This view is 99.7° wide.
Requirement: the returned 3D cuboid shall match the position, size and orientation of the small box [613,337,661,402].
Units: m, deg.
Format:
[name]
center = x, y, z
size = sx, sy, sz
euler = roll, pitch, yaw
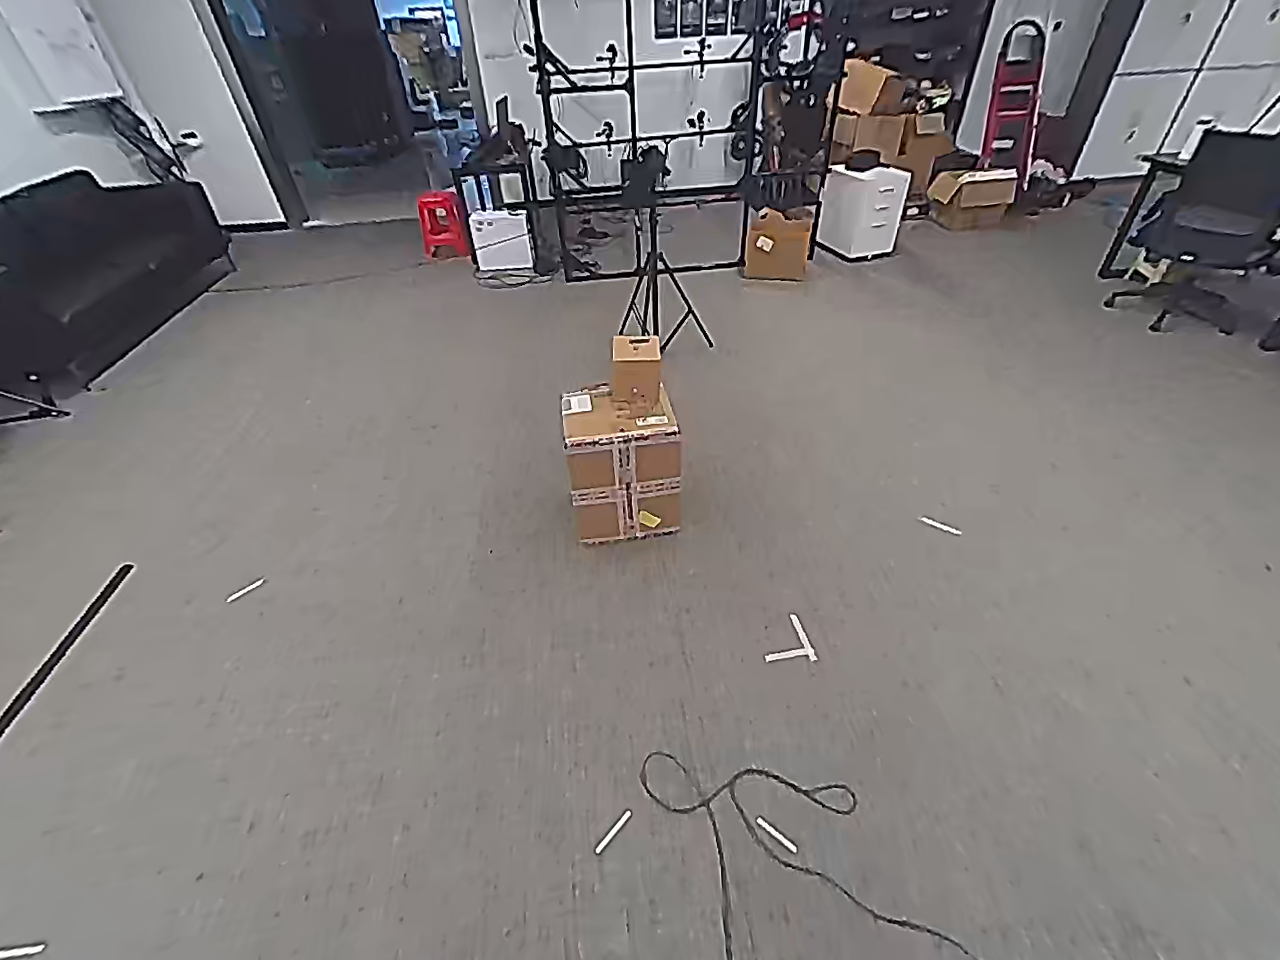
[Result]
[small box]
center = -0.011, -0.399, 1.942
size = 0.168, 0.176, 0.179
euler = -1, 43, -1
